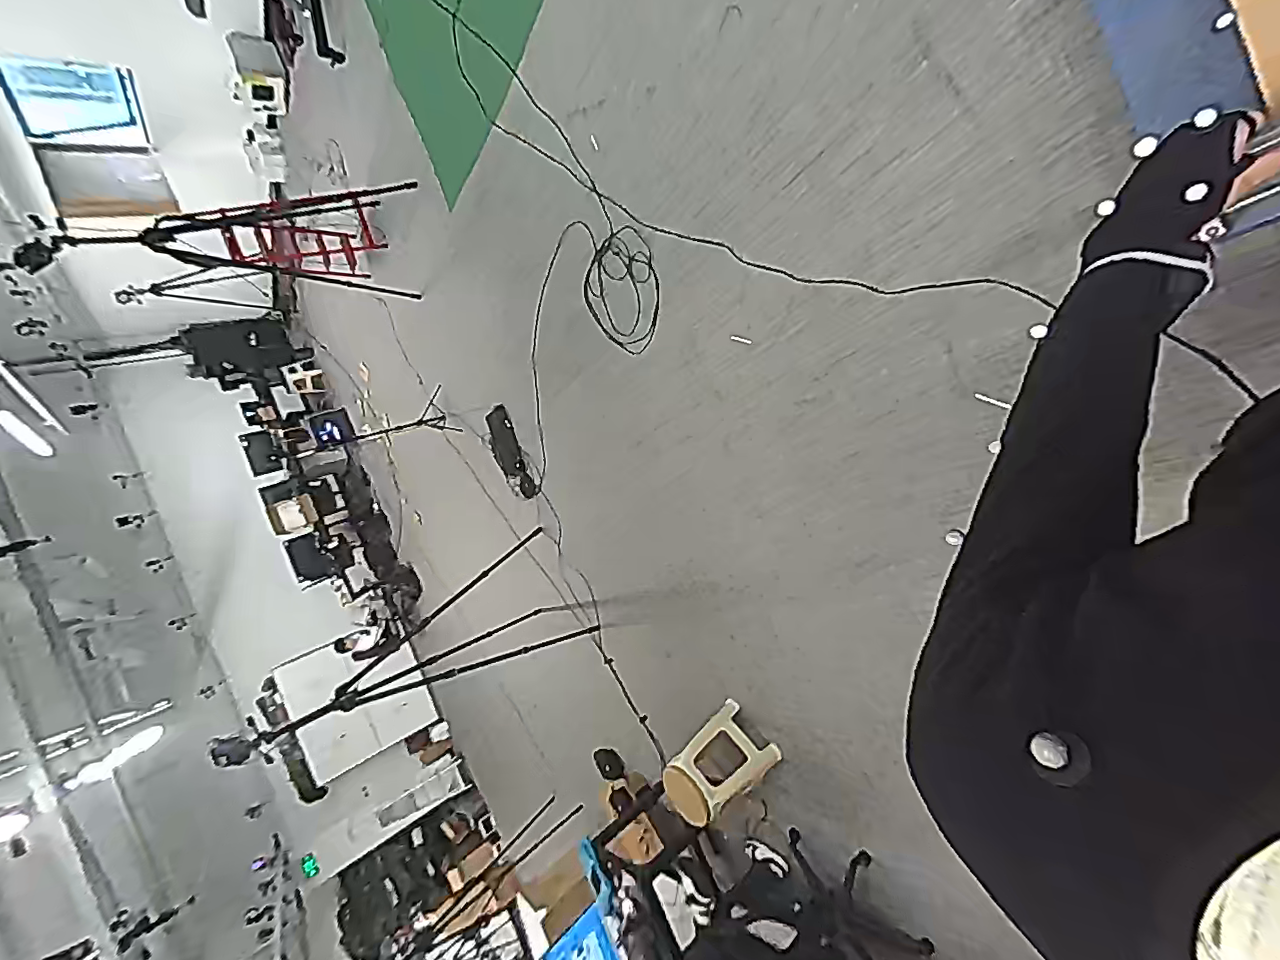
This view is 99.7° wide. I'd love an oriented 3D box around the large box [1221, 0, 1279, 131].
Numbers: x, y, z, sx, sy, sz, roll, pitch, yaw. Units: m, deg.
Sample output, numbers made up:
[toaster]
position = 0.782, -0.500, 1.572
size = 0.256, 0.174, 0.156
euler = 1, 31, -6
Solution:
[large box]
position = 0.959, -0.708, 0.670
size = 0.320, 0.320, 0.408
euler = -20, 90, 53
